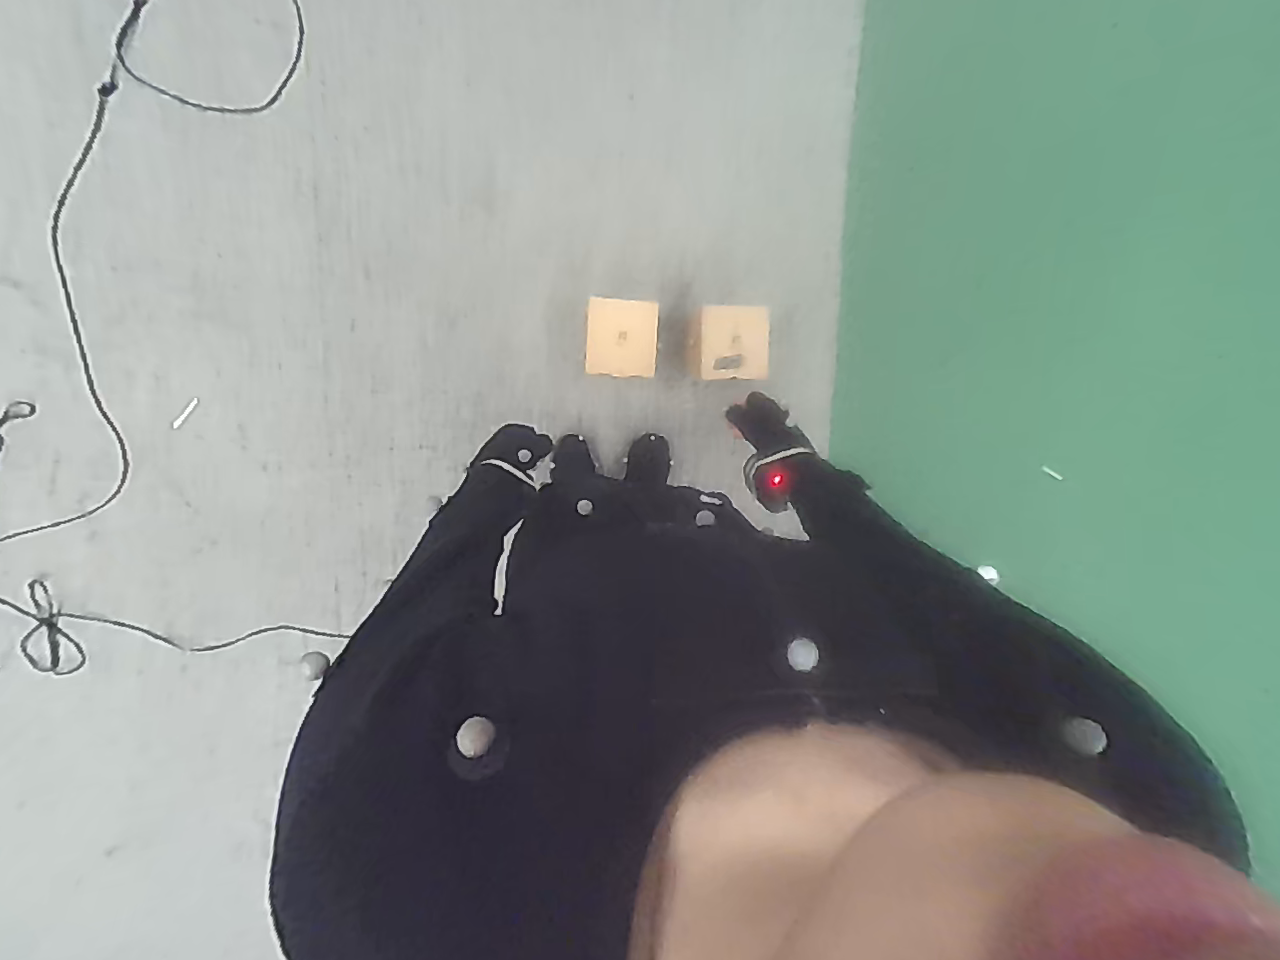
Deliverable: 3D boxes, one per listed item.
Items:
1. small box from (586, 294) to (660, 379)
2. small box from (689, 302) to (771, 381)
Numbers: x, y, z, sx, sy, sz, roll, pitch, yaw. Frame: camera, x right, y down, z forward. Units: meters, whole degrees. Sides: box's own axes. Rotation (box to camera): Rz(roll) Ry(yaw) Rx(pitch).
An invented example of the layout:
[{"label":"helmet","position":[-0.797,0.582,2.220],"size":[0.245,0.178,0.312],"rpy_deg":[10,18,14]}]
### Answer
[{"label":"small box","position":[-0.047,-0.348,1.334],"size":[0.168,0.176,0.179],"rpy_deg":[2,98,-6]},{"label":"small box","position":[0.220,-0.342,1.360],"size":[0.168,0.176,0.179],"rpy_deg":[-1,98,-6]}]
